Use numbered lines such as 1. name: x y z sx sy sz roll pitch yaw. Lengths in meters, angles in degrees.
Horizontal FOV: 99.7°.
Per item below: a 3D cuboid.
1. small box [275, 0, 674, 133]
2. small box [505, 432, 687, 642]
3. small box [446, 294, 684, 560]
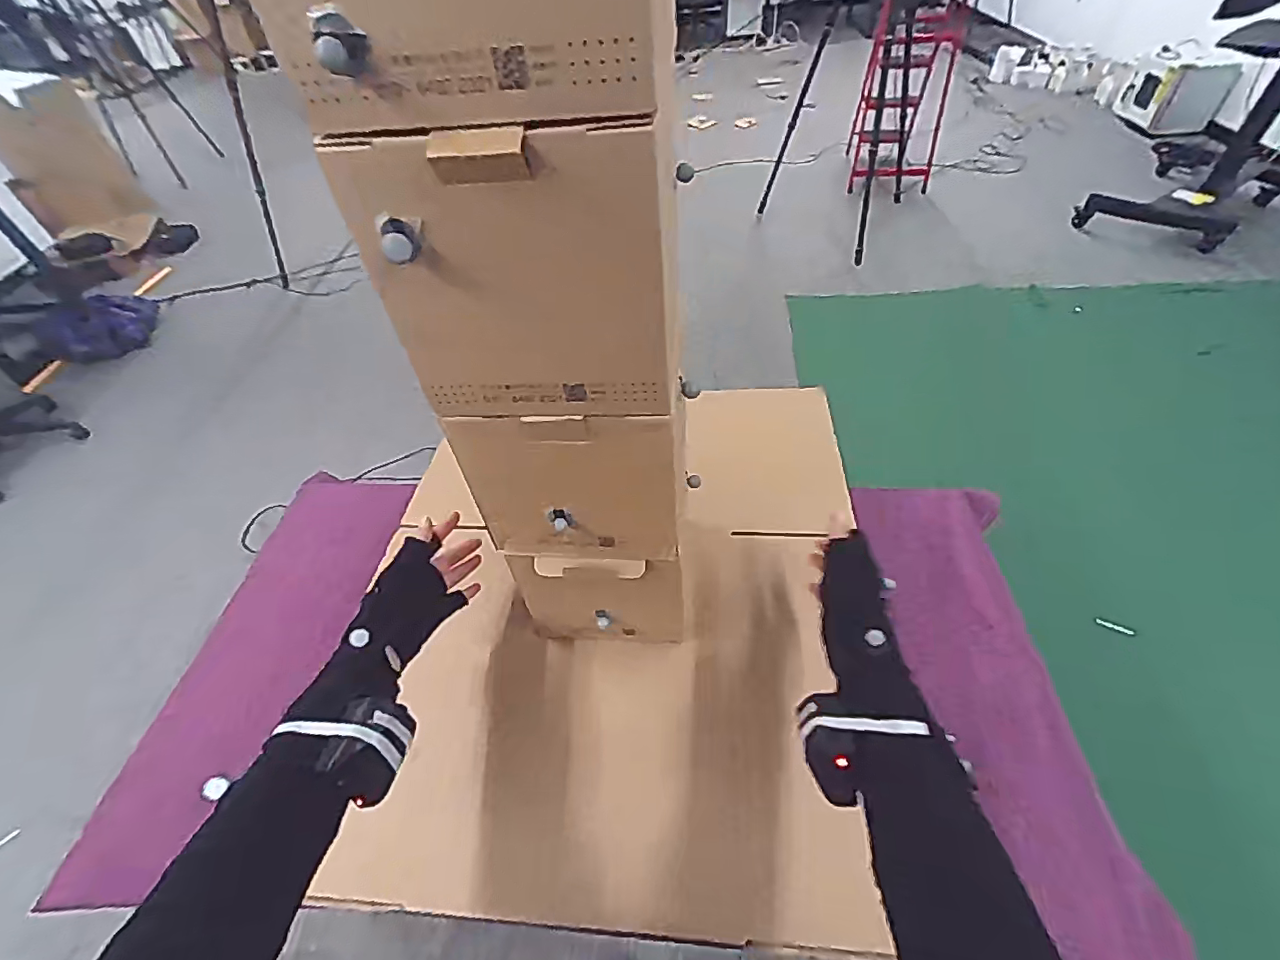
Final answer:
1. small box: -0.071 -0.277 0.252 0.168 0.176 0.179 1 46 6
2. small box: -0.033 0.060 0.609 0.168 0.176 0.179 0 47 7
3. small box: -0.046 -0.049 0.490 0.168 0.176 0.179 1 48 6
